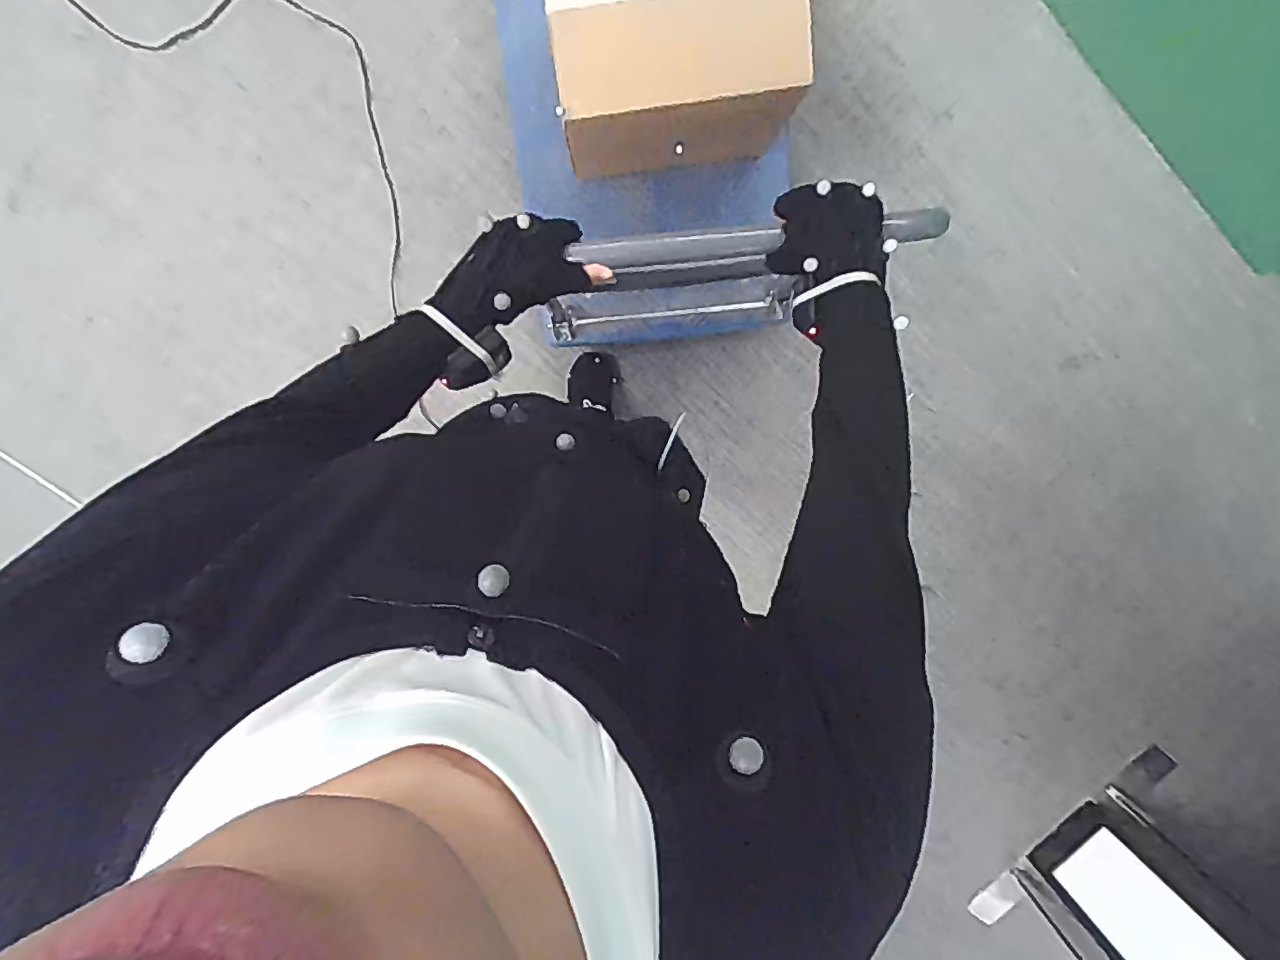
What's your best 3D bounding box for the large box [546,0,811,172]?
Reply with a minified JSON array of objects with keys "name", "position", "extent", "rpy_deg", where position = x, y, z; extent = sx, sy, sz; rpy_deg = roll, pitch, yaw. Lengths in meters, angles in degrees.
[{"name":"large box","position":[0.050,-0.793,0.971],"extent":[0.408,0.320,0.320],"rpy_deg":[-9,103,0]}]
